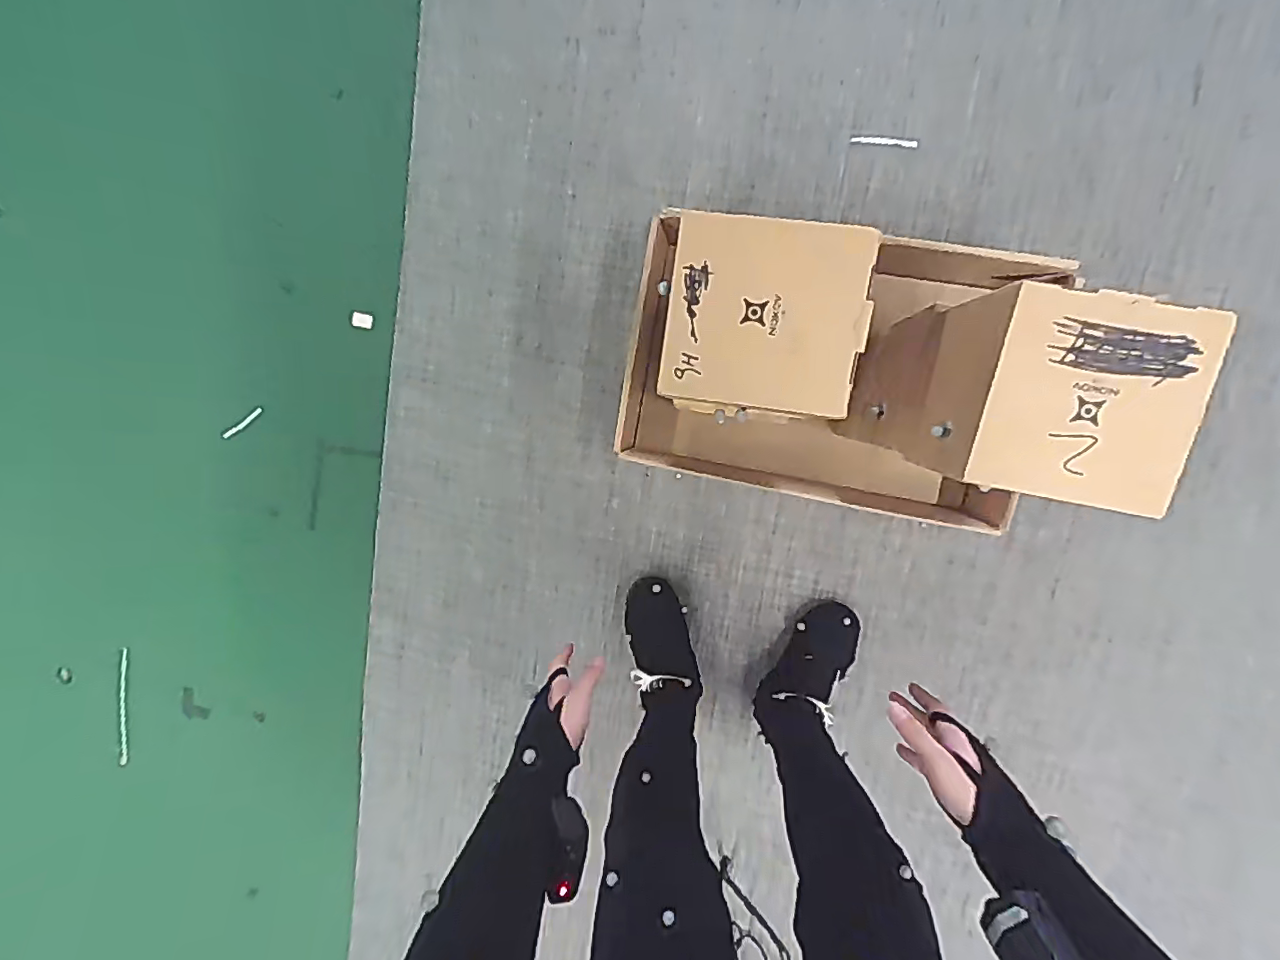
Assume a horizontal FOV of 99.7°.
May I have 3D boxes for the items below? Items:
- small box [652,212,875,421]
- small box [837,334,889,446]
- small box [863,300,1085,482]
[{"bbox_3d":[0.118,-0.157,0.564,0.179,0.176,0.168,9,98,7],"label":"small box"},{"bbox_3d":[0.431,-0.127,0.848,0.179,0.176,0.168,14,99,7],"label":"small box"},{"bbox_3d":[0.401,-0.111,0.690,0.168,0.176,0.179,14,100,7],"label":"small box"}]
